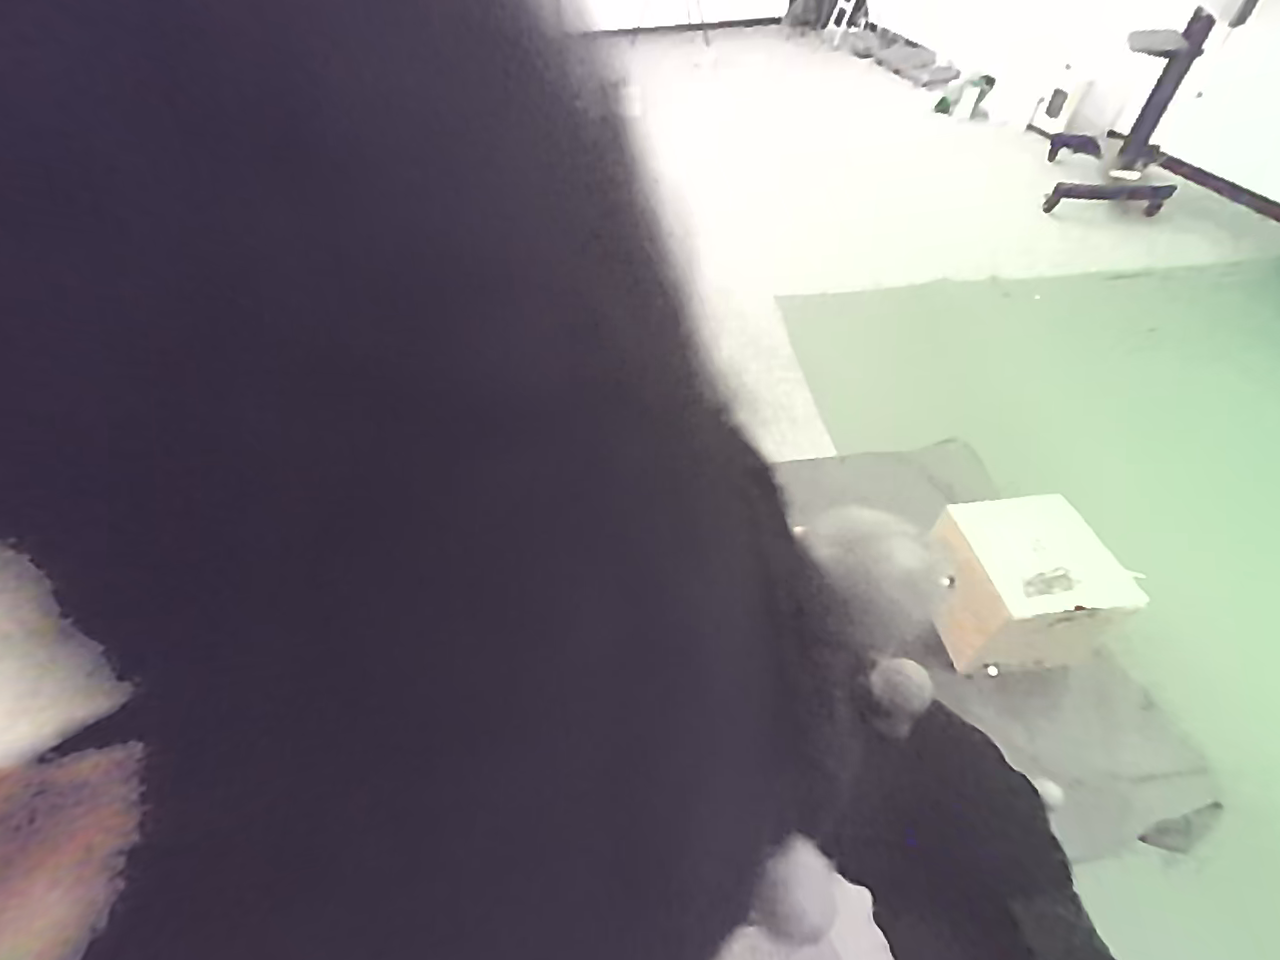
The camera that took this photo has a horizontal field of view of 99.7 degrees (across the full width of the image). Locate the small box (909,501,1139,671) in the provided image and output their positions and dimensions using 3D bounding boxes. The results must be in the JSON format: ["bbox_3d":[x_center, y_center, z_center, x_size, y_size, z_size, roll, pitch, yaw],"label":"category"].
[{"bbox_3d":[0.510,0.153,0.753,0.168,0.176,0.179,-4,47,-1],"label":"small box"}]
